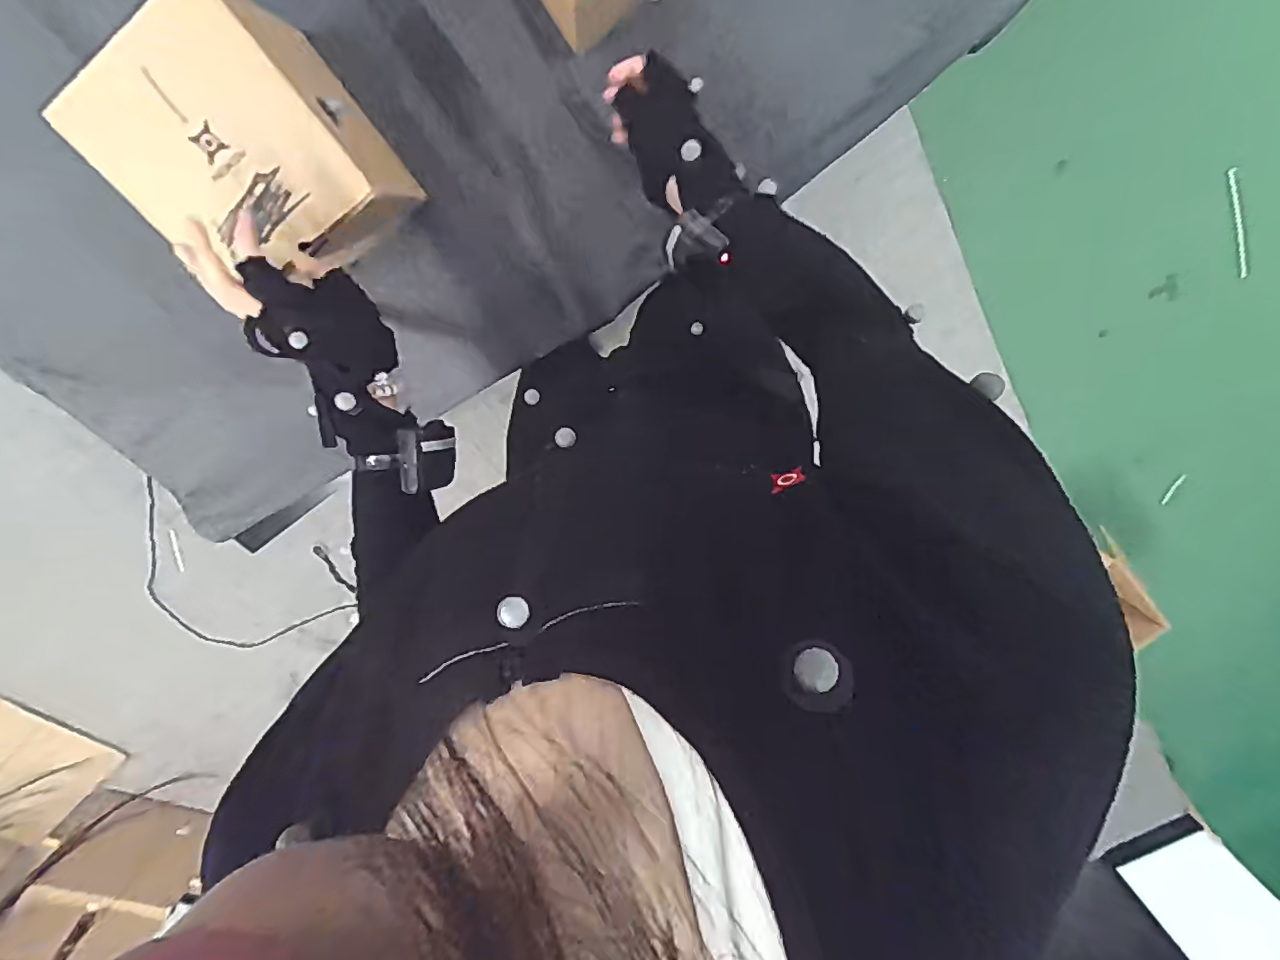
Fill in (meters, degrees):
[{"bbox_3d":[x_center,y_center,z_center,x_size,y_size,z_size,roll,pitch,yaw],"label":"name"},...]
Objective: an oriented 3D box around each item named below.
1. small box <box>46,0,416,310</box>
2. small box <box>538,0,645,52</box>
[{"bbox_3d":[-0.342,-0.288,0.499,0.168,0.176,0.179,-33,114,10],"label":"small box"},{"bbox_3d":[-0.044,-0.497,0.427,0.168,0.176,0.179,-35,114,11],"label":"small box"}]
